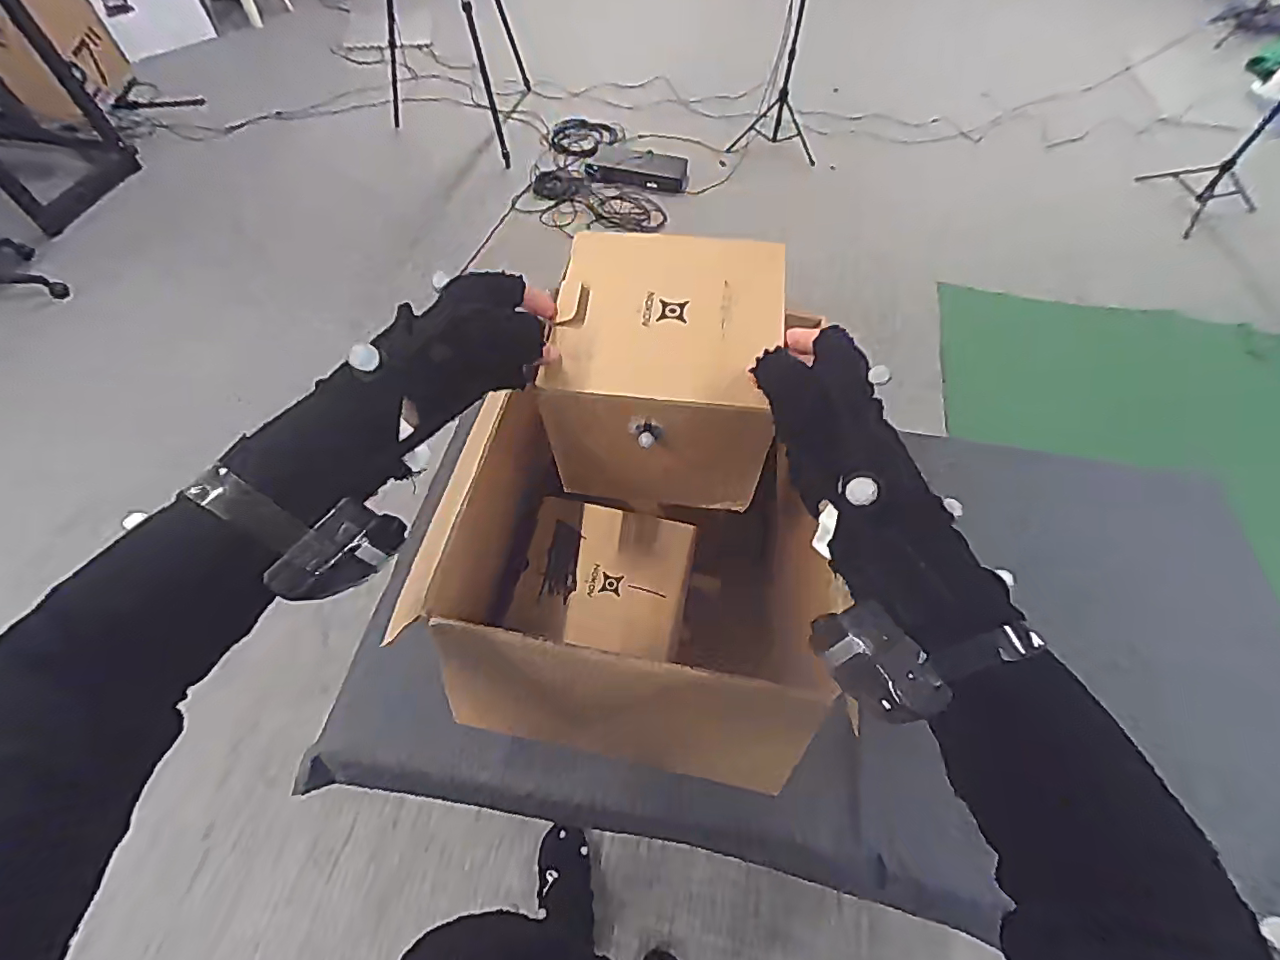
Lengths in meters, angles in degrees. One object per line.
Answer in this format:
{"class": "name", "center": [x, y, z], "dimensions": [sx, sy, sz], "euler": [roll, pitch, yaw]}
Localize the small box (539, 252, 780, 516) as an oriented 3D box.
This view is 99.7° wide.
{"class": "small box", "center": [0.023, -0.078, 0.490], "dimensions": [0.179, 0.176, 0.168], "euler": [6, 62, 4]}
